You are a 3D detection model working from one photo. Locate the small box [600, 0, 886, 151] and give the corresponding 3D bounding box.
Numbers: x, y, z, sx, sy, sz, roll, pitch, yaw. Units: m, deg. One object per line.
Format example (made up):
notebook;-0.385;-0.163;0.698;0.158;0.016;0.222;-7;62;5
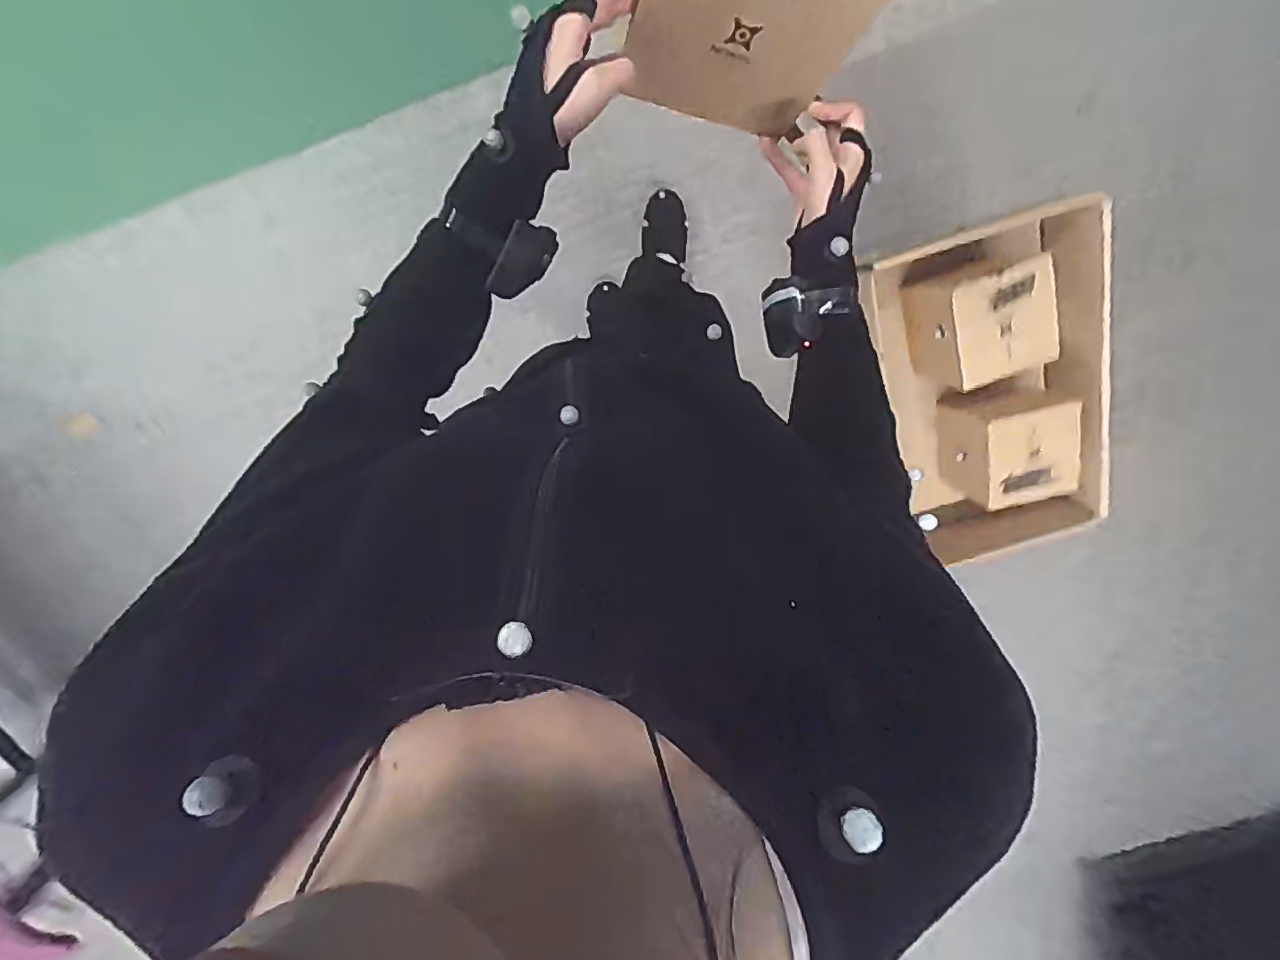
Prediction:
small box;0.072;-0.407;0.419;0.168;0.179;0.176;5;85;-16
